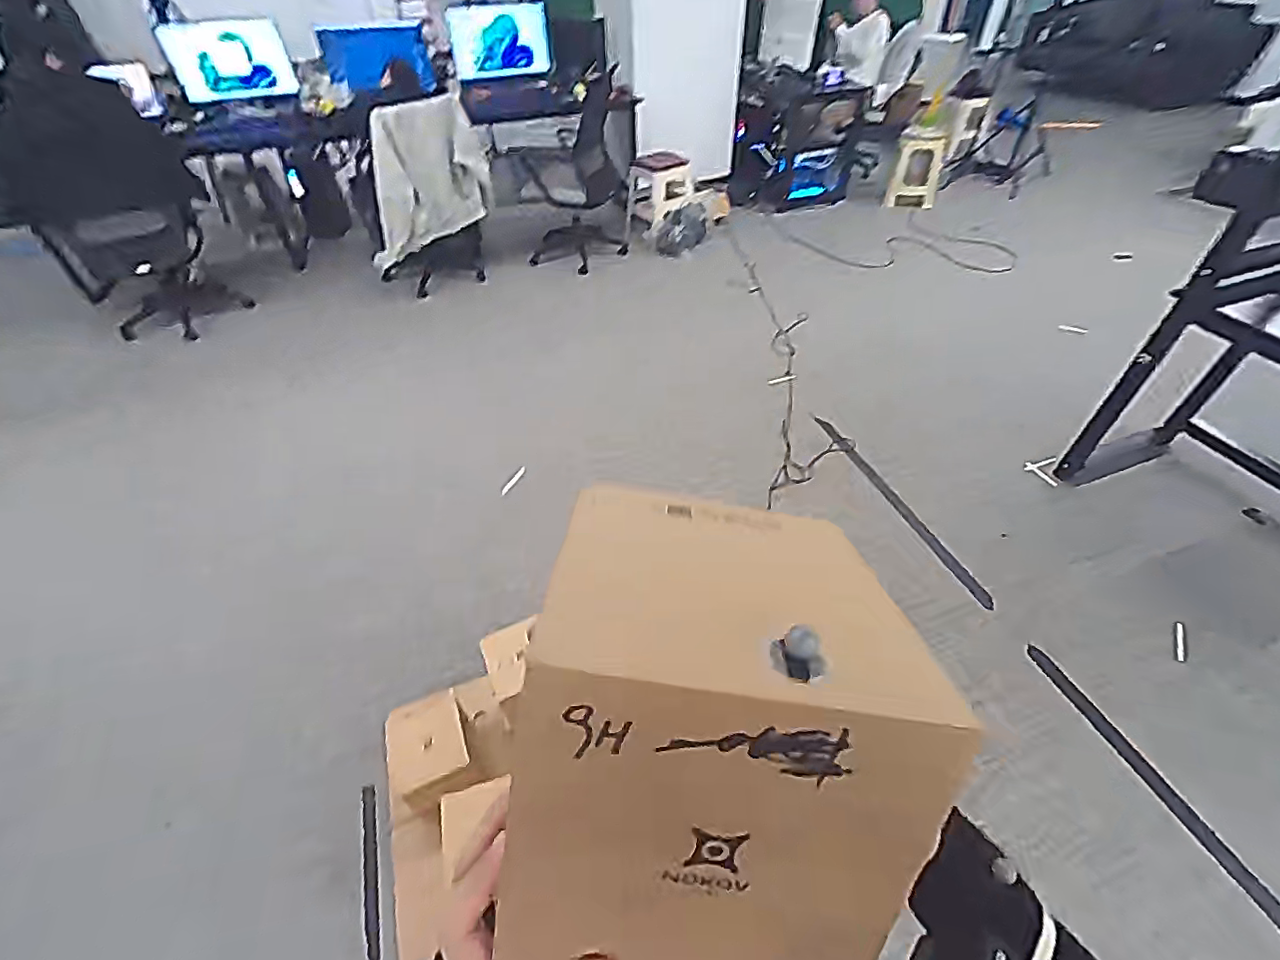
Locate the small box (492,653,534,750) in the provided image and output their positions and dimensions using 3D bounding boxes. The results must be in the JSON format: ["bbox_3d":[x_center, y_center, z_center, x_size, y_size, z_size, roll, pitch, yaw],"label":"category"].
[{"bbox_3d":[-0.269,0.571,1.415,0.179,0.176,0.168,-20,48,-16],"label":"small box"}]

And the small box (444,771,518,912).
[{"bbox_3d":[-0.275,0.702,1.053,0.168,0.176,0.179,-13,48,-11],"label":"small box"}]

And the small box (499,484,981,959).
[{"bbox_3d":[0.032,0.121,0.294,0.168,0.179,0.176,9,20,-2],"label":"small box"}]

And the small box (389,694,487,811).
[{"bbox_3d":[-0.492,0.669,1.325,0.168,0.176,0.179,-22,49,-16],"label":"small box"}]
